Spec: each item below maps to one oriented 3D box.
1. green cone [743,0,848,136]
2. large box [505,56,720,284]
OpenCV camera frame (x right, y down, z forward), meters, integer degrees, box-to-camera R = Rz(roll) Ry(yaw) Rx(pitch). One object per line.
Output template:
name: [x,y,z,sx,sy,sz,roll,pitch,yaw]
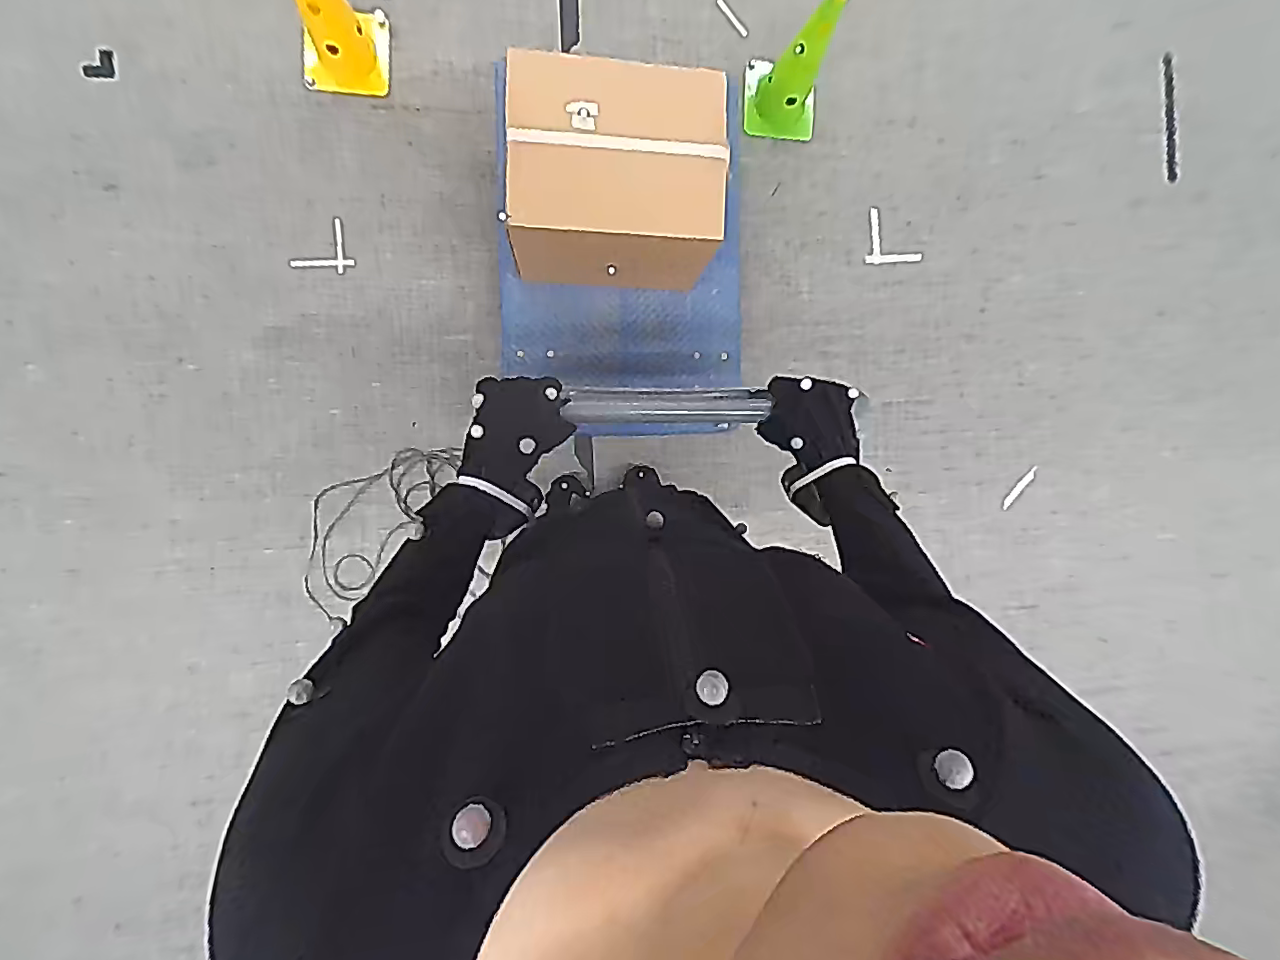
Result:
green cone: [0.411,-1.064,1.338,0.202,0.368,0.200,1,92,-9]
large box: [-0.061,-0.619,1.146,0.408,0.320,0.320,1,92,-6]
